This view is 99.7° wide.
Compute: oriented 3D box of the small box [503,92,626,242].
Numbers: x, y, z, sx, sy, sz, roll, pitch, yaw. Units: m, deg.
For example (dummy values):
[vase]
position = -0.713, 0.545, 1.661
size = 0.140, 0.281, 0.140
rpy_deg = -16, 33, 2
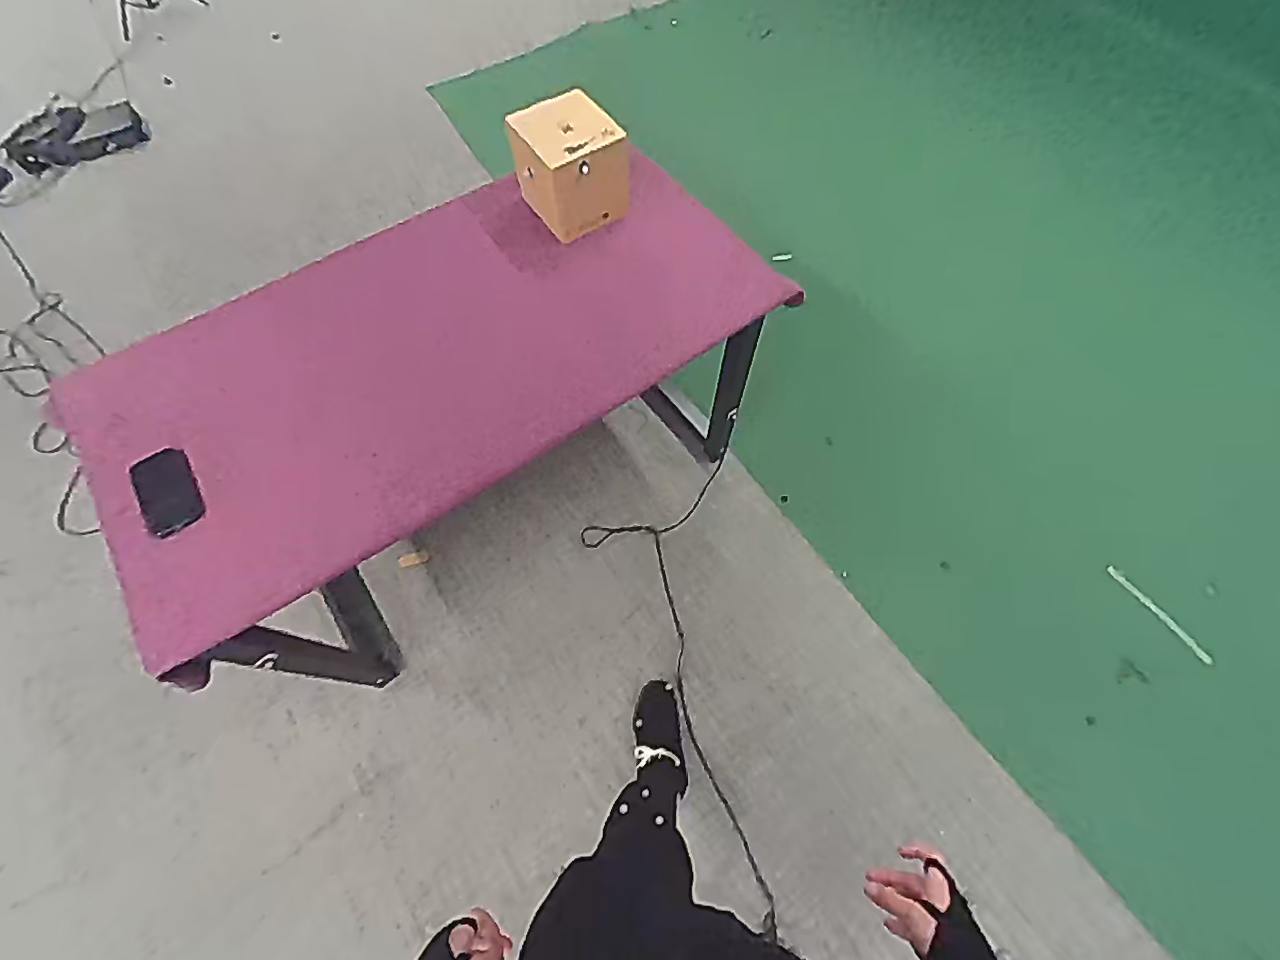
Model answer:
[small box]
position = -0.143, -0.614, 1.073
size = 0.168, 0.176, 0.179
rpy_deg = -33, 69, -12
